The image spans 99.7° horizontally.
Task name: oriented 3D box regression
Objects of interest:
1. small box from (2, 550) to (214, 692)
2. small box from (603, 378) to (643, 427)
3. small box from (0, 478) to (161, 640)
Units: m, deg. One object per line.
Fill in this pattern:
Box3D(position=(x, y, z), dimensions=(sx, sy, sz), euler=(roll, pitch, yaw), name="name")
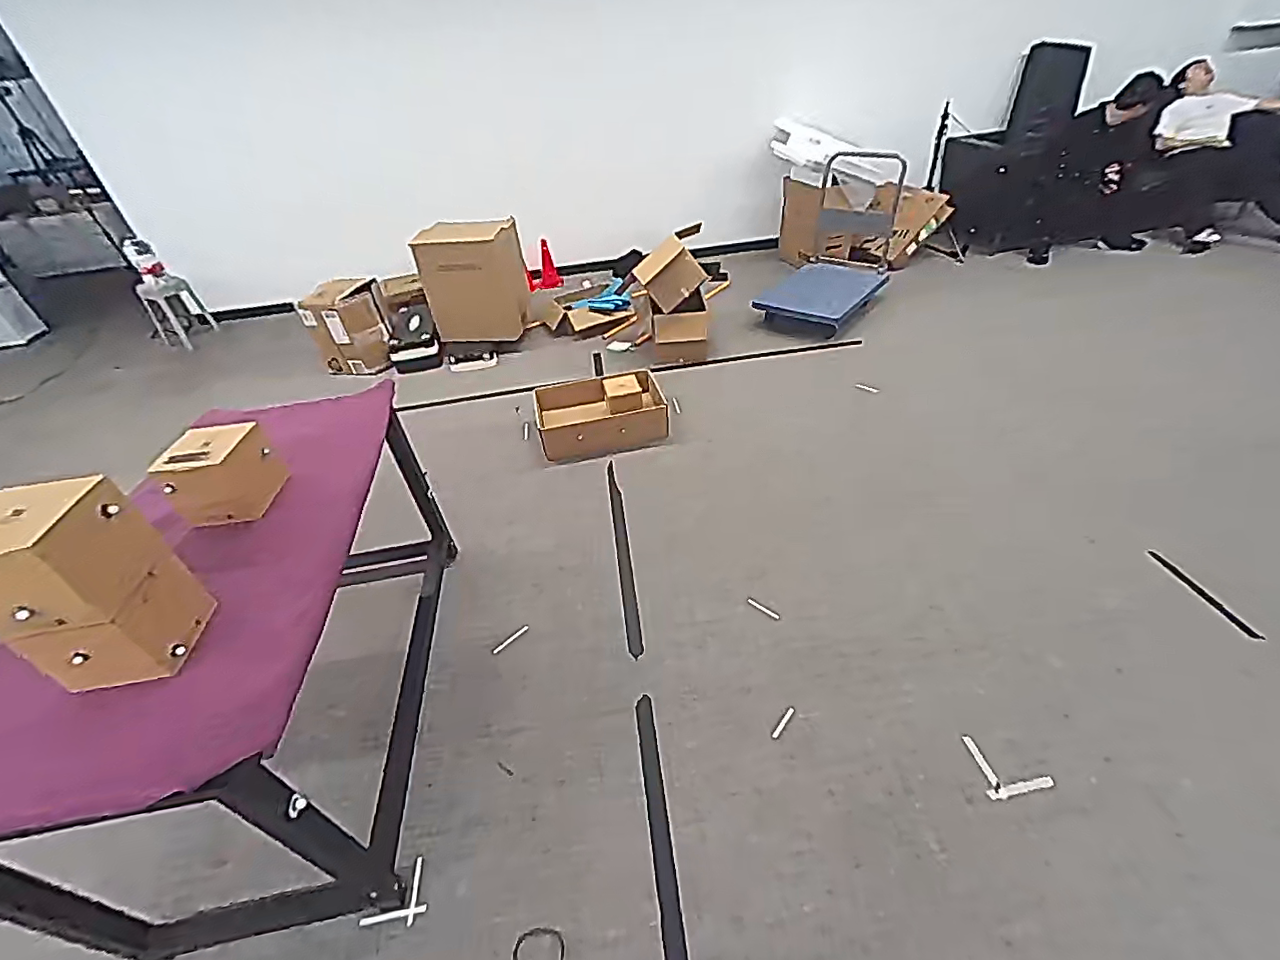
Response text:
Box3D(position=(-0.919, 0.251, 0.961), dimensions=(0.179, 0.176, 0.168), euler=(-9, 38, -3), name="small box")
Box3D(position=(-0.086, -0.388, 2.720), dimensions=(0.168, 0.176, 0.179), euler=(-12, 39, -6), name="small box")
Box3D(position=(-0.923, 0.123, 0.857), dimensions=(0.168, 0.176, 0.179), euler=(-9, 38, -4), name="small box")
